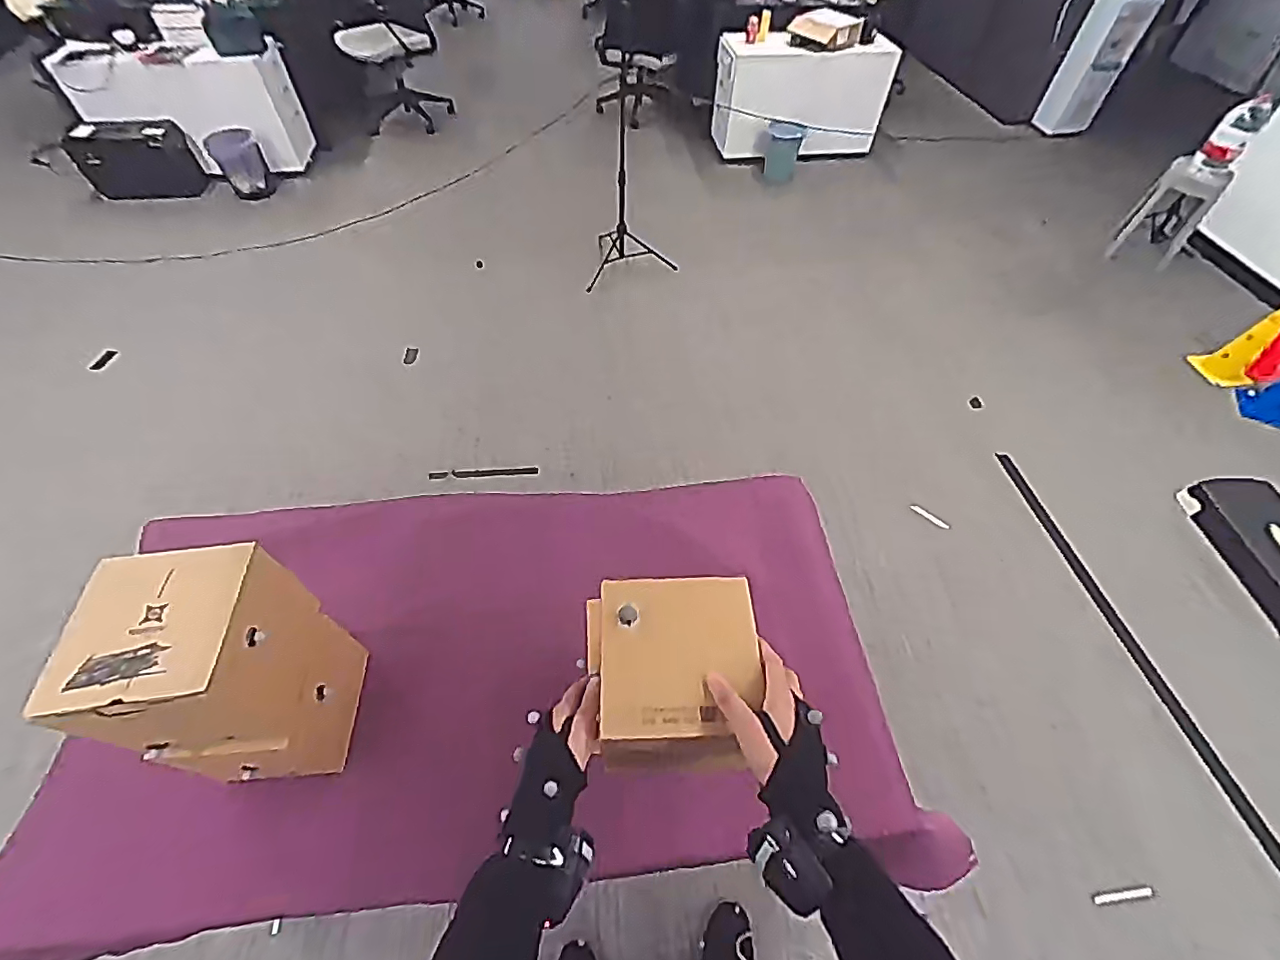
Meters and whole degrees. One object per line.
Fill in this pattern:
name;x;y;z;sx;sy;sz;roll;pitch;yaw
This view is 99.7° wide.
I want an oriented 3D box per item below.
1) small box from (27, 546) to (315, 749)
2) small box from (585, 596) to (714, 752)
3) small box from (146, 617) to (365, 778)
small box;-0.512;0.200;0.629;0.168;0.176;0.179;-6;53;-7
small box;0.008;0.288;0.789;0.168;0.176;0.179;-3;53;-3
small box;-0.511;0.308;0.754;0.168;0.176;0.179;-2;53;-4
